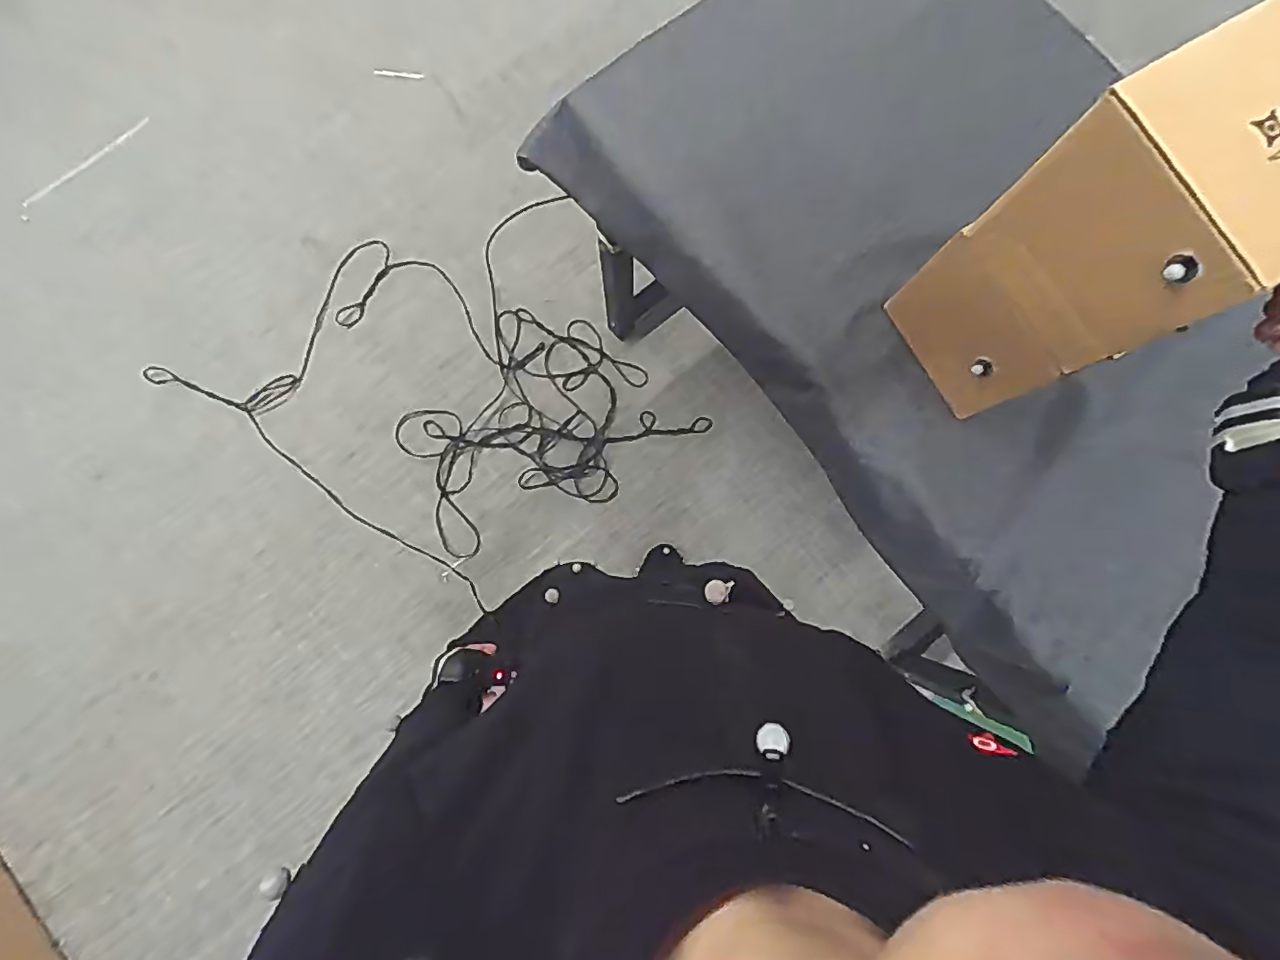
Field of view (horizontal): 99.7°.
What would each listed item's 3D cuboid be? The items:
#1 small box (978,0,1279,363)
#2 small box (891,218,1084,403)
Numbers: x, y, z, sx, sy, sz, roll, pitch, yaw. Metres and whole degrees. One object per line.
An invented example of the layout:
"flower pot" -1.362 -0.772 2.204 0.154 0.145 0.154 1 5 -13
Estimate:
"small box" 0.436 -0.228 0.450 0.168 0.176 0.179 -30 85 -6
"small box" 0.429 -0.204 0.611 0.168 0.176 0.179 -30 83 -6
